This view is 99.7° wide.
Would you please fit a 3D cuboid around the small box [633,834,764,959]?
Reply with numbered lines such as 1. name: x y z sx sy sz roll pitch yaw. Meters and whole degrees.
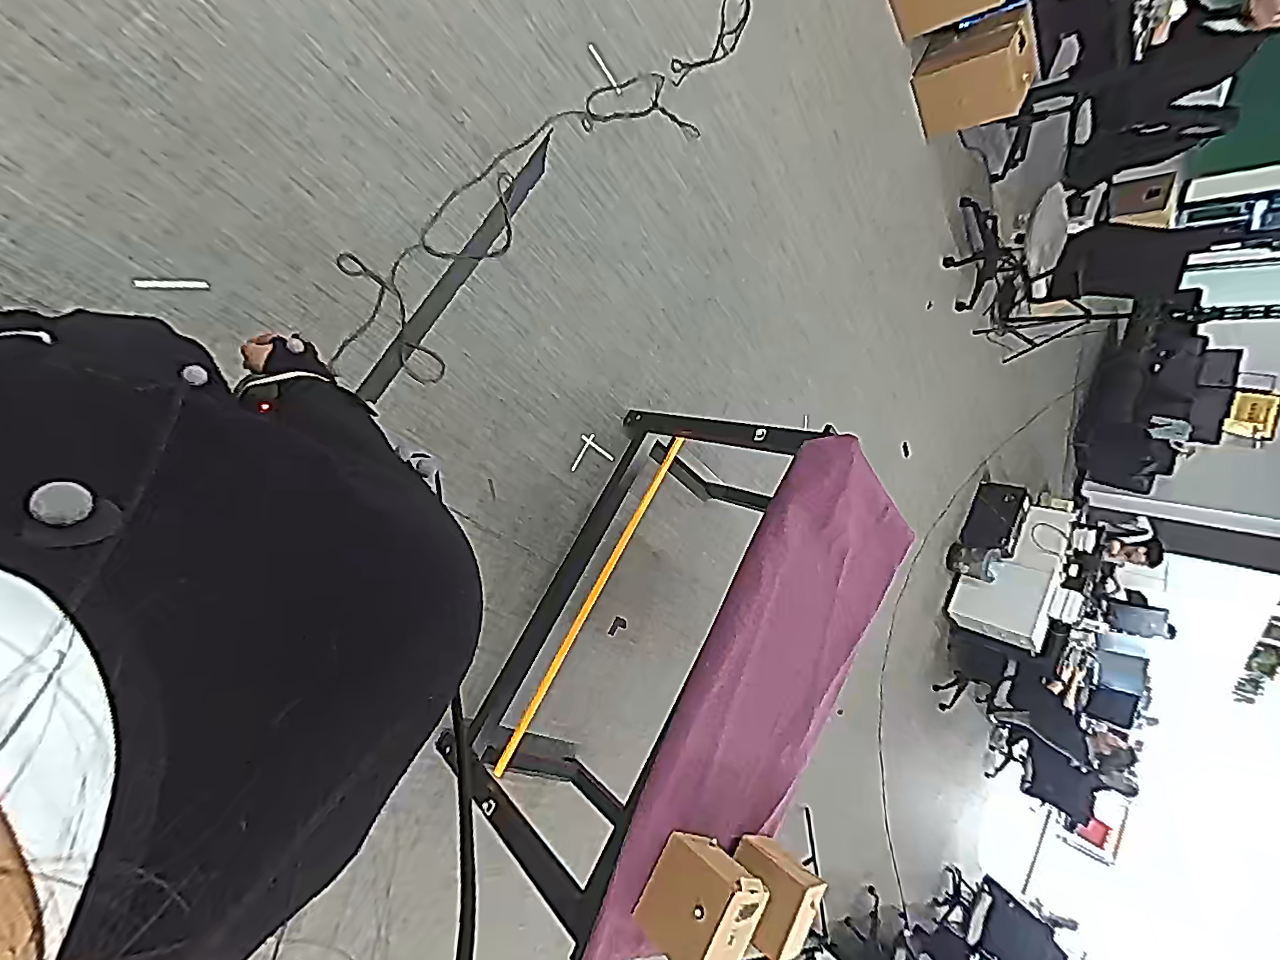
1. small box: 0.118 0.860 1.099 0.168 0.176 0.179 43 71 -41
